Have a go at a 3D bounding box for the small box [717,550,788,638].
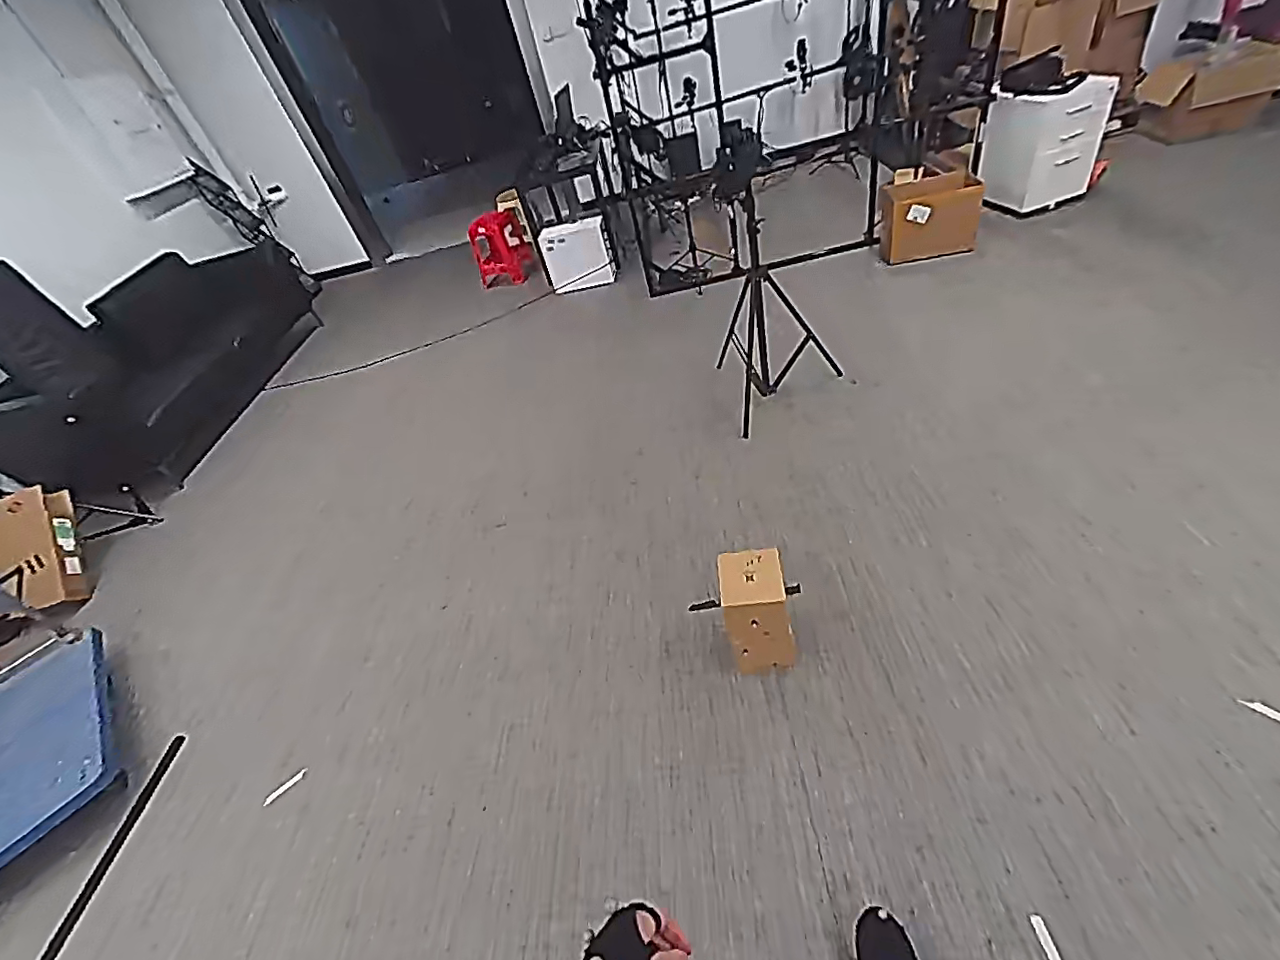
[{"bbox_3d":[0.306,0.316,1.471,0.168,0.176,0.179,-8,41,11],"label":"small box"}]
